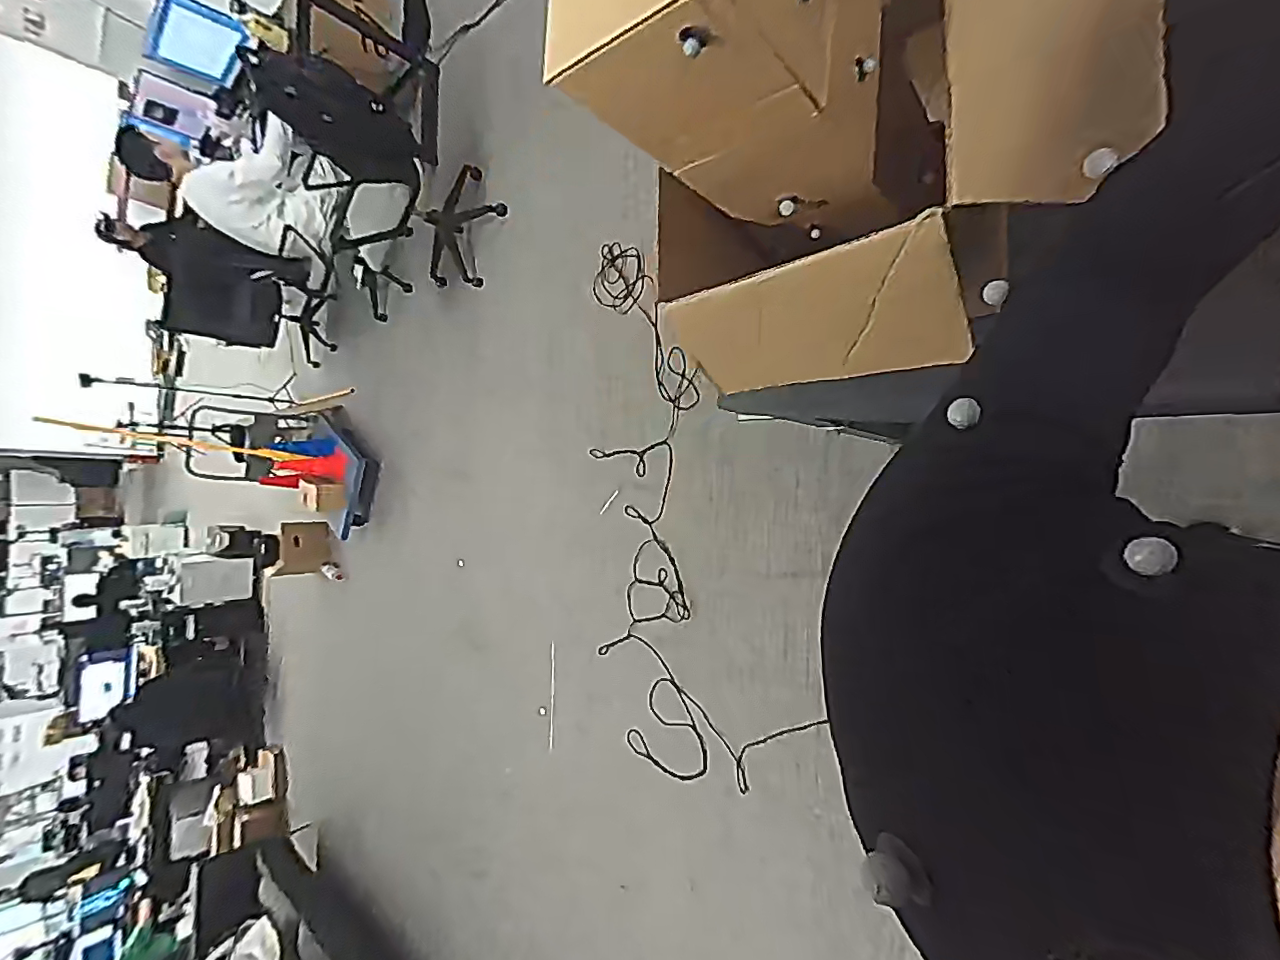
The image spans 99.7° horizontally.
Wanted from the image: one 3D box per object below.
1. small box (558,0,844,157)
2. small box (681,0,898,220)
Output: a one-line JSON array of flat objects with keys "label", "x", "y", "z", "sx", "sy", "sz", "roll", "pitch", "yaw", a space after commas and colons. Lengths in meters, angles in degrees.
[{"label": "small box", "x": 0.055, "y": -0.410, "z": 0.456, "sx": 0.179, "sy": 0.176, "sz": 0.168, "roll": 6, "pitch": 93, "yaw": 41}, {"label": "small box", "x": 0.163, "y": -0.410, "z": 0.577, "sx": 0.168, "sy": 0.176, "sz": 0.179, "roll": 5, "pitch": 94, "yaw": 41}]
